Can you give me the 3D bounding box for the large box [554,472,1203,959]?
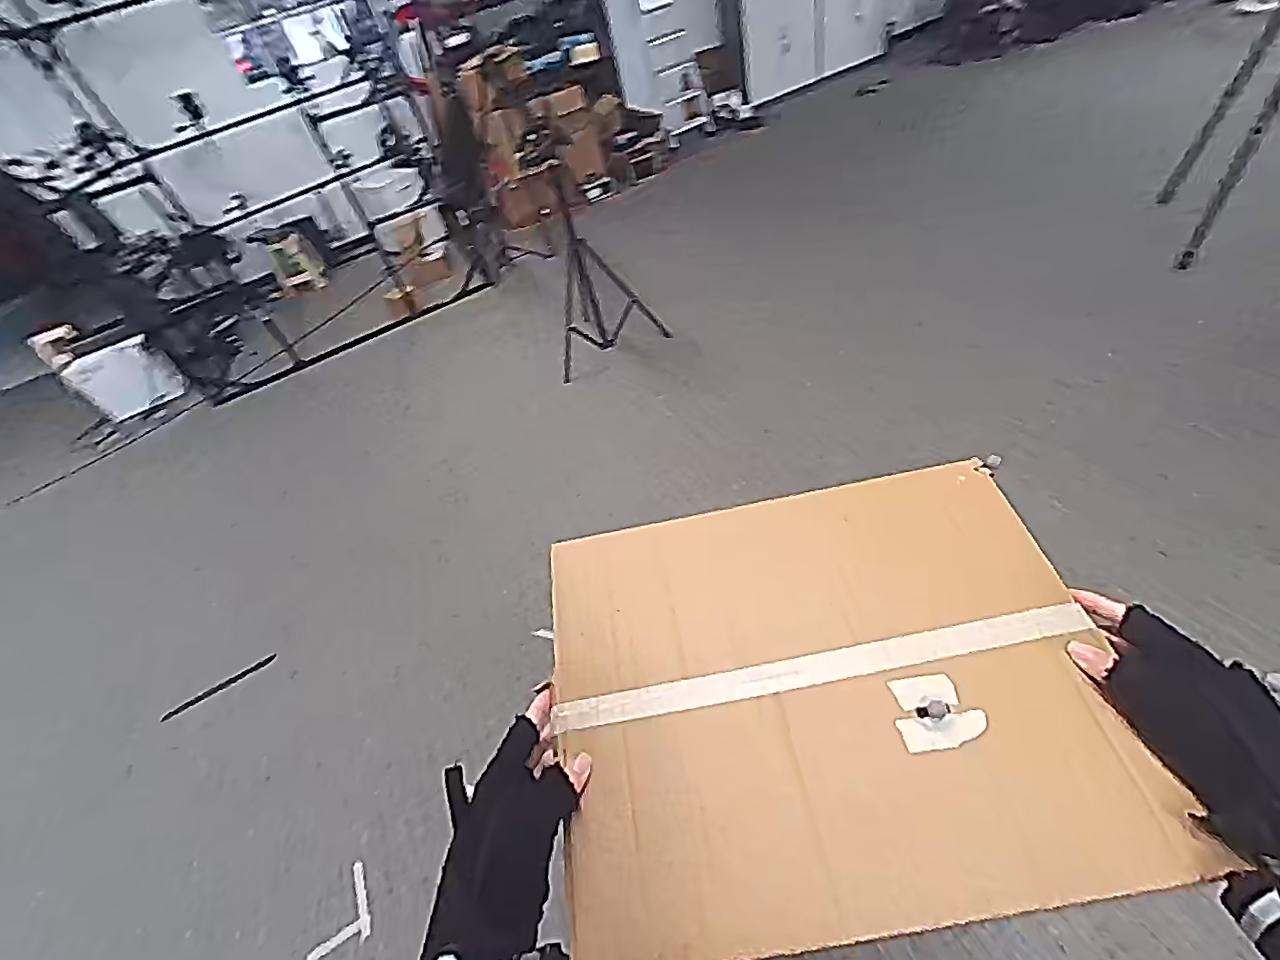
[{"bbox_3d":[0.154,0.241,0.544,0.408,0.320,0.320,-12,53,1],"label":"large box"}]
